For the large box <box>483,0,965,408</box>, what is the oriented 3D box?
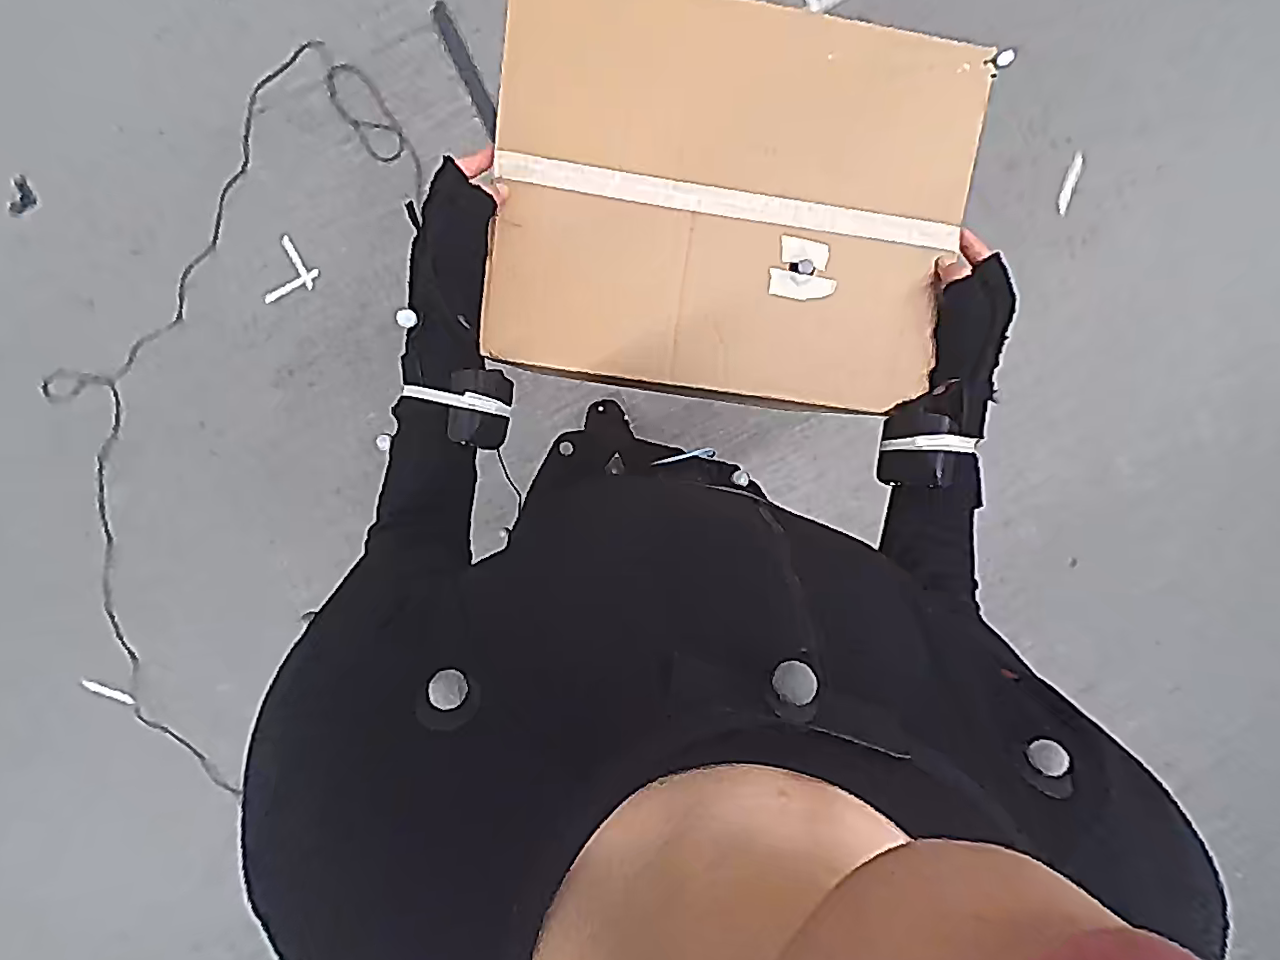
[{"bbox_3d":[0.058,-0.259,0.618,0.408,0.320,0.320,6,99,-6],"label":"large box"}]
